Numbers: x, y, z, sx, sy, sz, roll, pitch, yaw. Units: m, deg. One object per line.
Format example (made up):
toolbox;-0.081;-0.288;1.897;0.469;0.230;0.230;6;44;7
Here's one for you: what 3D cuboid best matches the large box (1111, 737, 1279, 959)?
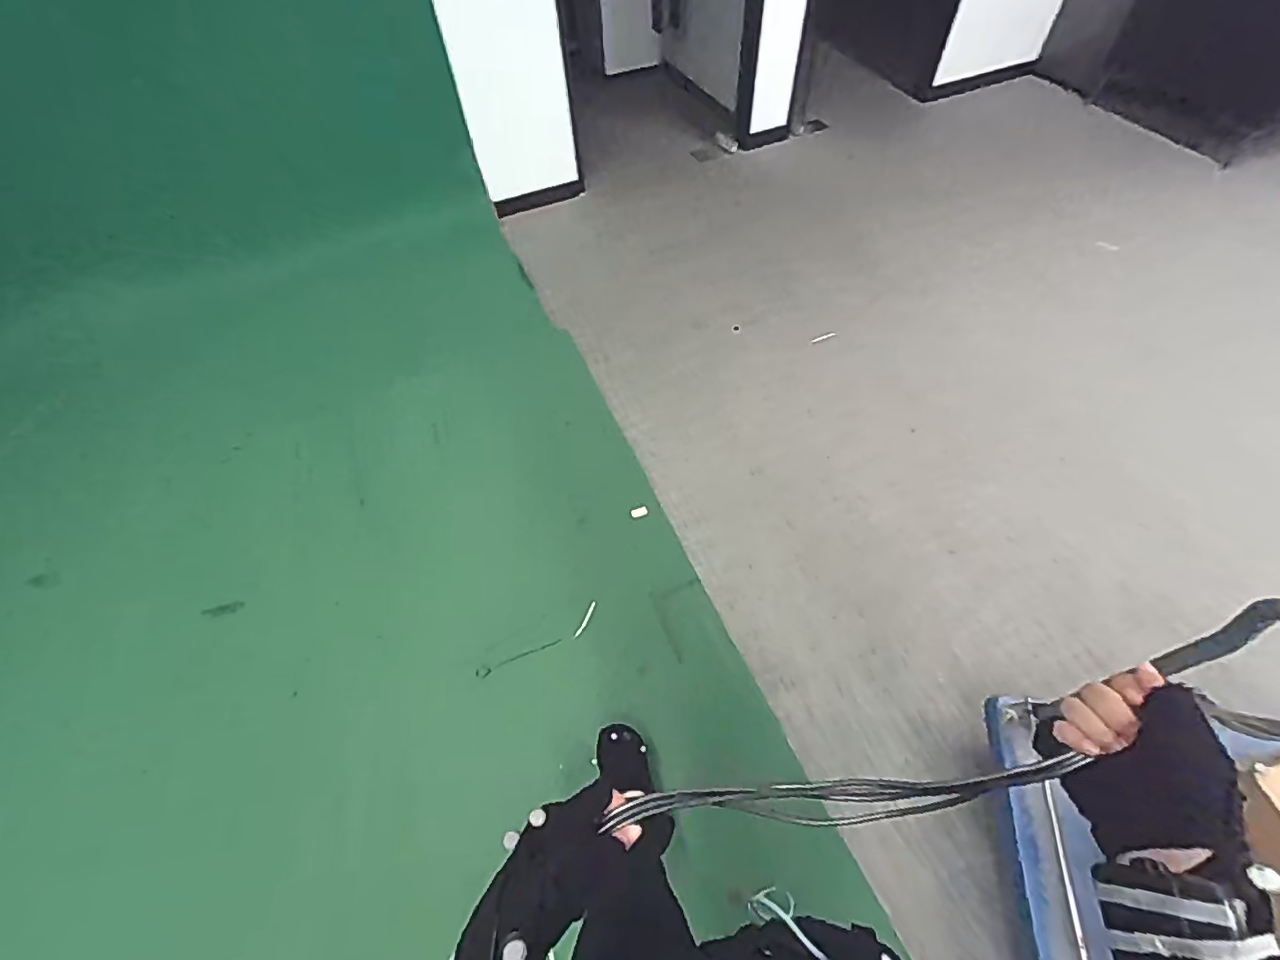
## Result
large box;1.110;0.648;0.854;0.320;0.320;0.408;-11;55;-5
